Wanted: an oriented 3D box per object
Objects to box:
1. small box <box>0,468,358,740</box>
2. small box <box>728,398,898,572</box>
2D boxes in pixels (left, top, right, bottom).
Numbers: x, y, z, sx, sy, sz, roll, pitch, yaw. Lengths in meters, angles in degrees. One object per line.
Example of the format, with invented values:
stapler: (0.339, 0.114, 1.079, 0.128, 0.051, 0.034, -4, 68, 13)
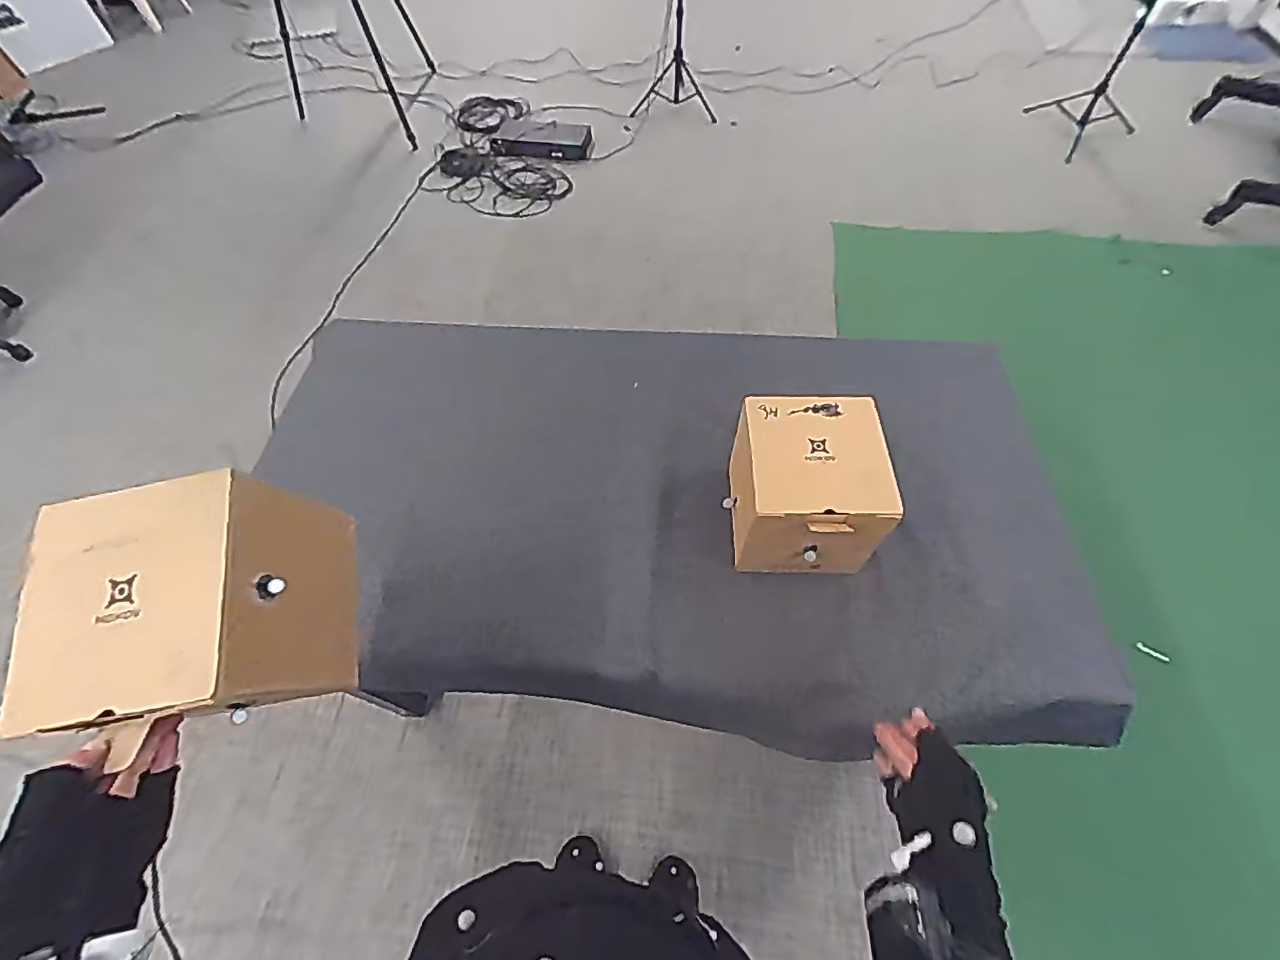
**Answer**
small box: (-0.371, 0.110, 0.474, 0.168, 0.176, 0.179, -11, 71, 2)
small box: (0.212, 0.012, 0.715, 0.168, 0.176, 0.179, 2, 59, 1)
